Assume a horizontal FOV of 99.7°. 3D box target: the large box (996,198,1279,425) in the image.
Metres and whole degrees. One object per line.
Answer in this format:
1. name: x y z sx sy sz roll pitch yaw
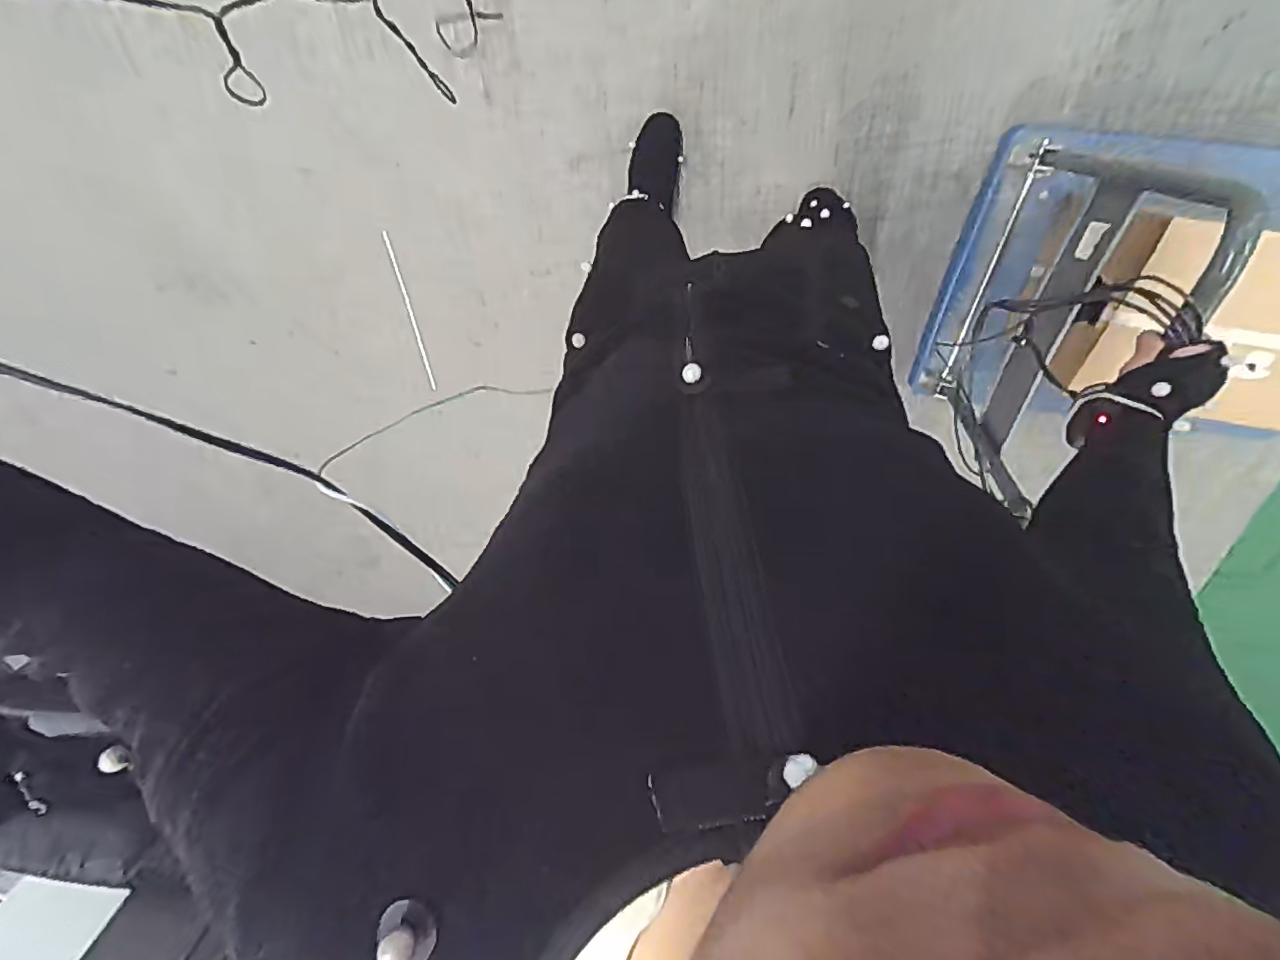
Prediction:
1. large box: 1.013 -0.336 1.042 0.408 0.320 0.320 10 125 2
